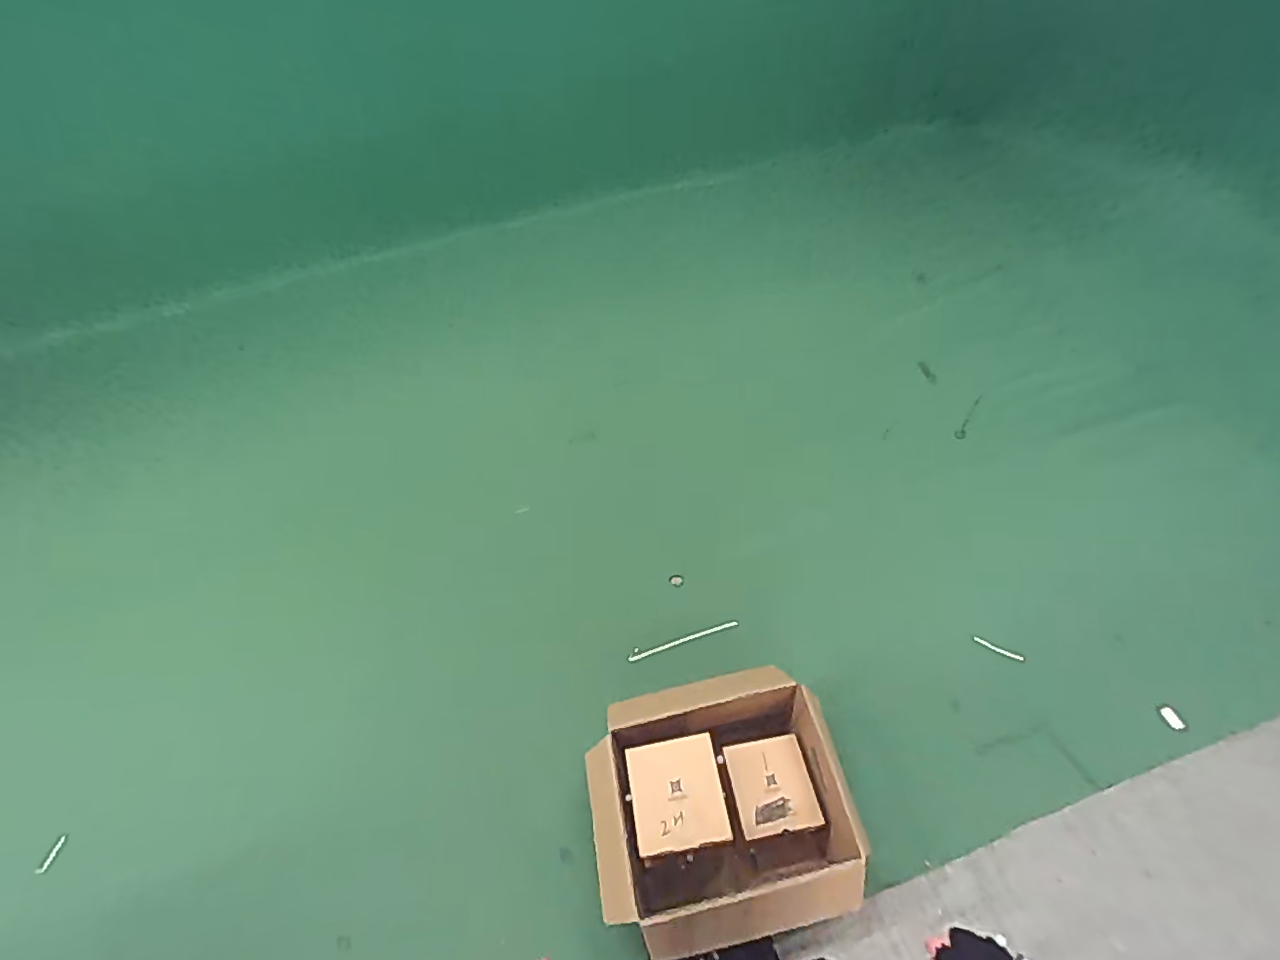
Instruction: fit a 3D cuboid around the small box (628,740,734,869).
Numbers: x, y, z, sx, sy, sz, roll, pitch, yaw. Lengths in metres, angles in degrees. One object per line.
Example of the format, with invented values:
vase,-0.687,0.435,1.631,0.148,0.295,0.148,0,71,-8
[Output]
small box,0.076,0.623,1.034,0.168,0.176,0.179,-11,53,0
